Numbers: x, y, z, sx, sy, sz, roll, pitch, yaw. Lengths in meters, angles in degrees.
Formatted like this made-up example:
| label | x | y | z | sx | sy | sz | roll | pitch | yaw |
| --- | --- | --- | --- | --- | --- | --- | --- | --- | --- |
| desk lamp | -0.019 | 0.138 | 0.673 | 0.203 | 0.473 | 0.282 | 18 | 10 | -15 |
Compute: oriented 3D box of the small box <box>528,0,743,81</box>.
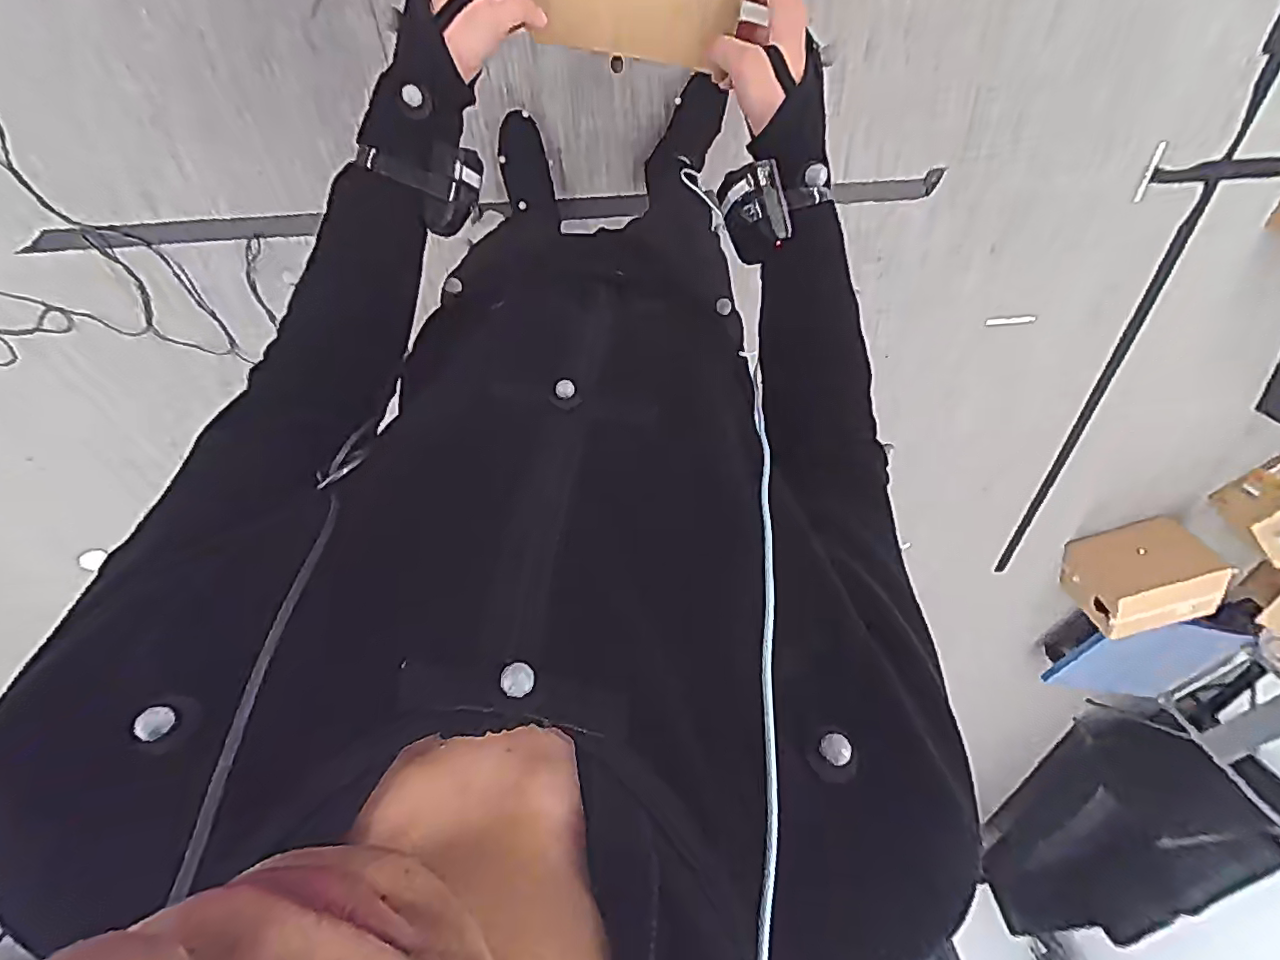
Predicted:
| label | x | y | z | sx | sy | sz | roll | pitch | yaw |
| --- | --- | --- | --- | --- | --- | --- | --- | --- | --- |
| small box | 0.000 | -0.455 | 0.444 | 0.168 | 0.176 | 0.179 | 4 | 130 | -9 |
